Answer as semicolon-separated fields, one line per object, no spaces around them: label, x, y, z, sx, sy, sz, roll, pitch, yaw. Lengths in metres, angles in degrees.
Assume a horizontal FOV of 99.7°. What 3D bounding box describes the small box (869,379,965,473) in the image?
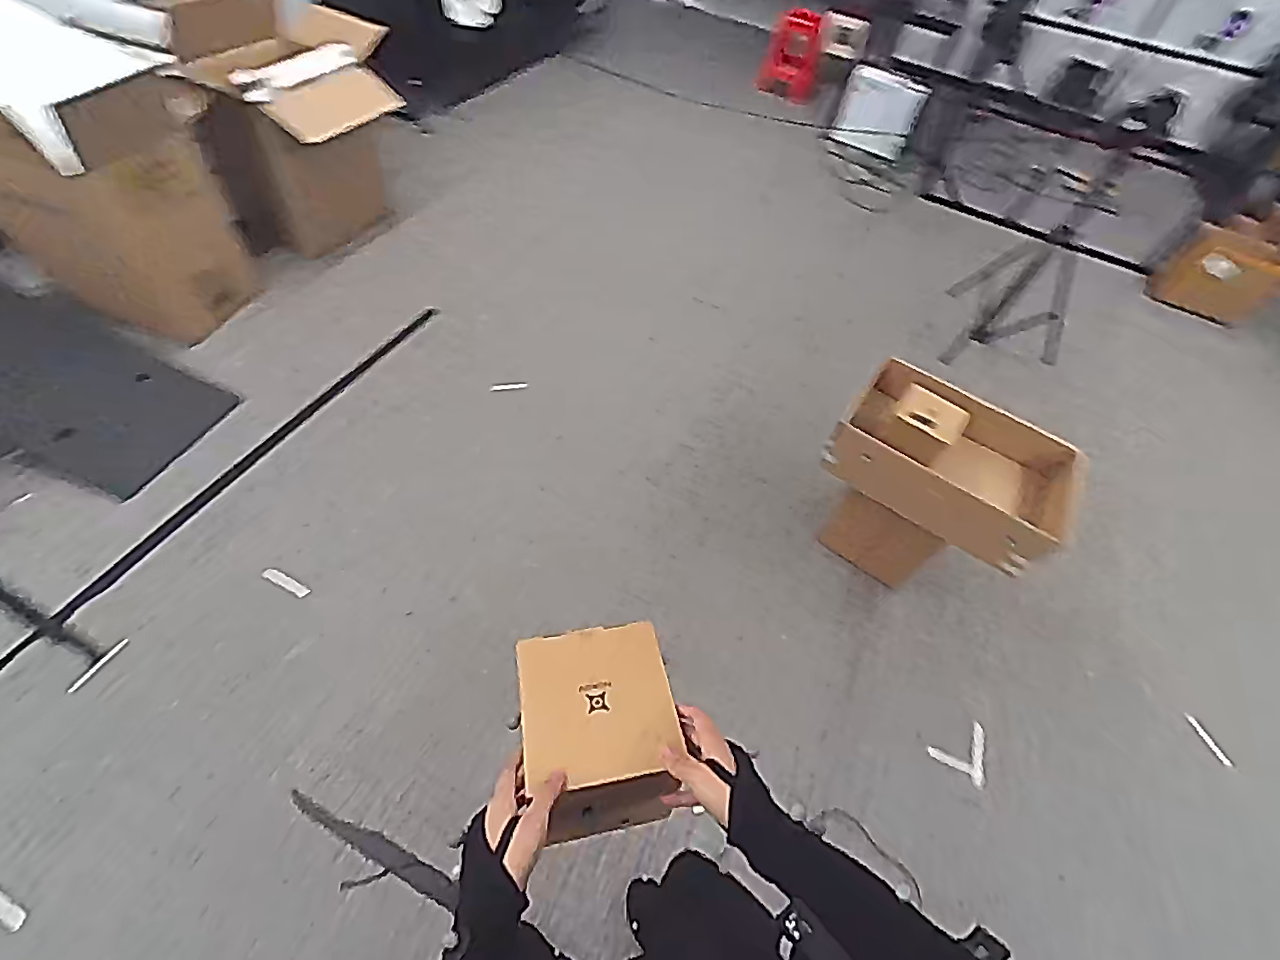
small box;0.792;-0.151;1.564;0.168;0.176;0.179;35;56;15

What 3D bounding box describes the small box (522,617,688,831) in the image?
small box;-0.049;0.292;0.643;0.168;0.176;0.179;-4;42;-11
